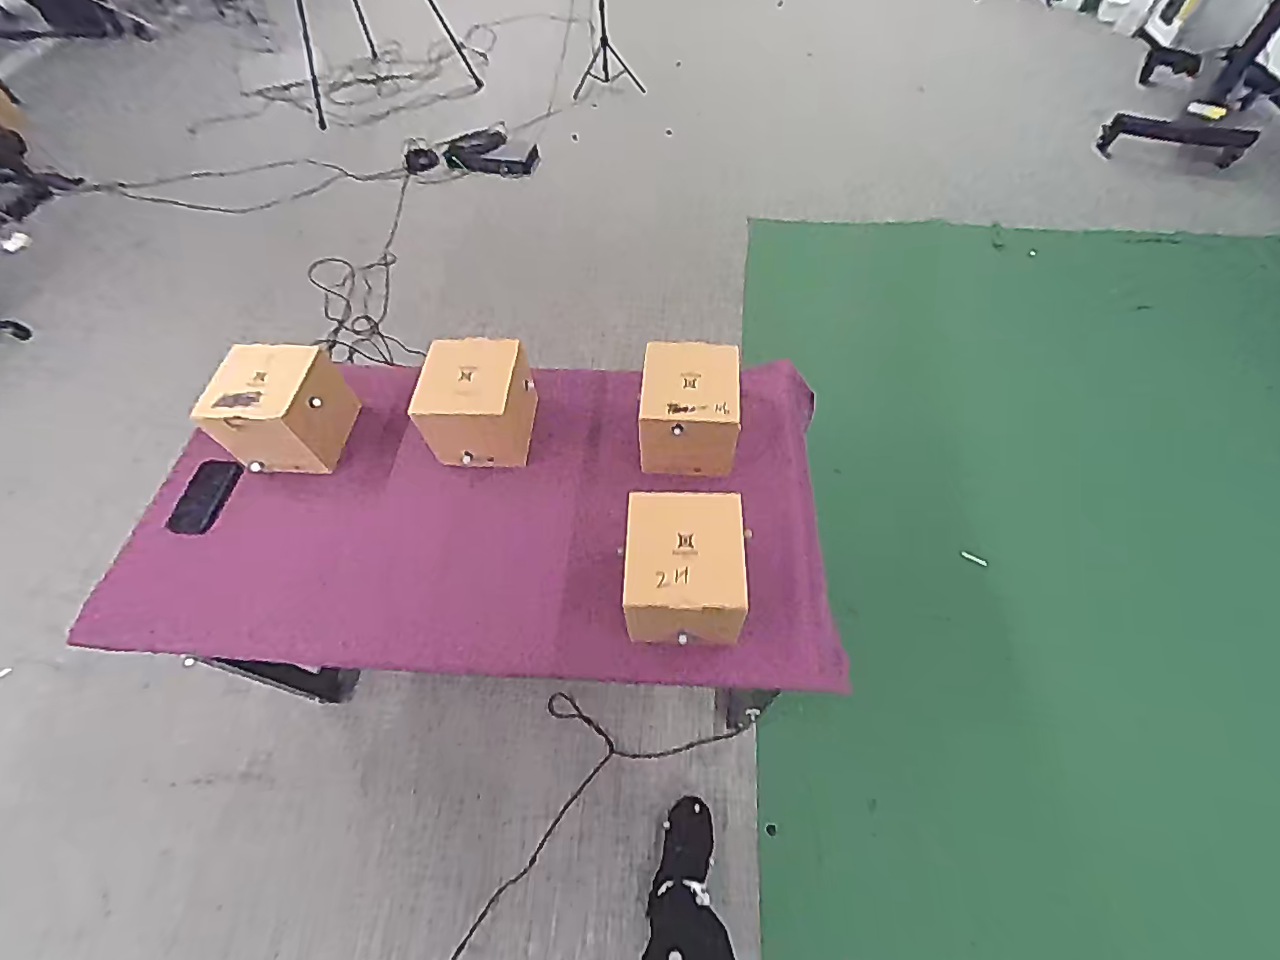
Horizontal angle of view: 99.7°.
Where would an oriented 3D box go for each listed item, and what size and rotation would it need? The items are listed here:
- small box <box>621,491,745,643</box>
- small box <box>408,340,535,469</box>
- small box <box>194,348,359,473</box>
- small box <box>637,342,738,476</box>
[{"bbox_3d":[0.064,0.133,0.815,0.168,0.176,0.179,0,58,5],"label":"small box"},{"bbox_3d":[-0.301,-0.139,1.011,0.168,0.176,0.179,1,59,4],"label":"small box"},{"bbox_3d":[-0.666,-0.126,1.020,0.168,0.176,0.179,1,58,3],"label":"small box"},{"bbox_3d":[0.087,-0.127,0.981,0.168,0.176,0.179,2,58,5],"label":"small box"}]
